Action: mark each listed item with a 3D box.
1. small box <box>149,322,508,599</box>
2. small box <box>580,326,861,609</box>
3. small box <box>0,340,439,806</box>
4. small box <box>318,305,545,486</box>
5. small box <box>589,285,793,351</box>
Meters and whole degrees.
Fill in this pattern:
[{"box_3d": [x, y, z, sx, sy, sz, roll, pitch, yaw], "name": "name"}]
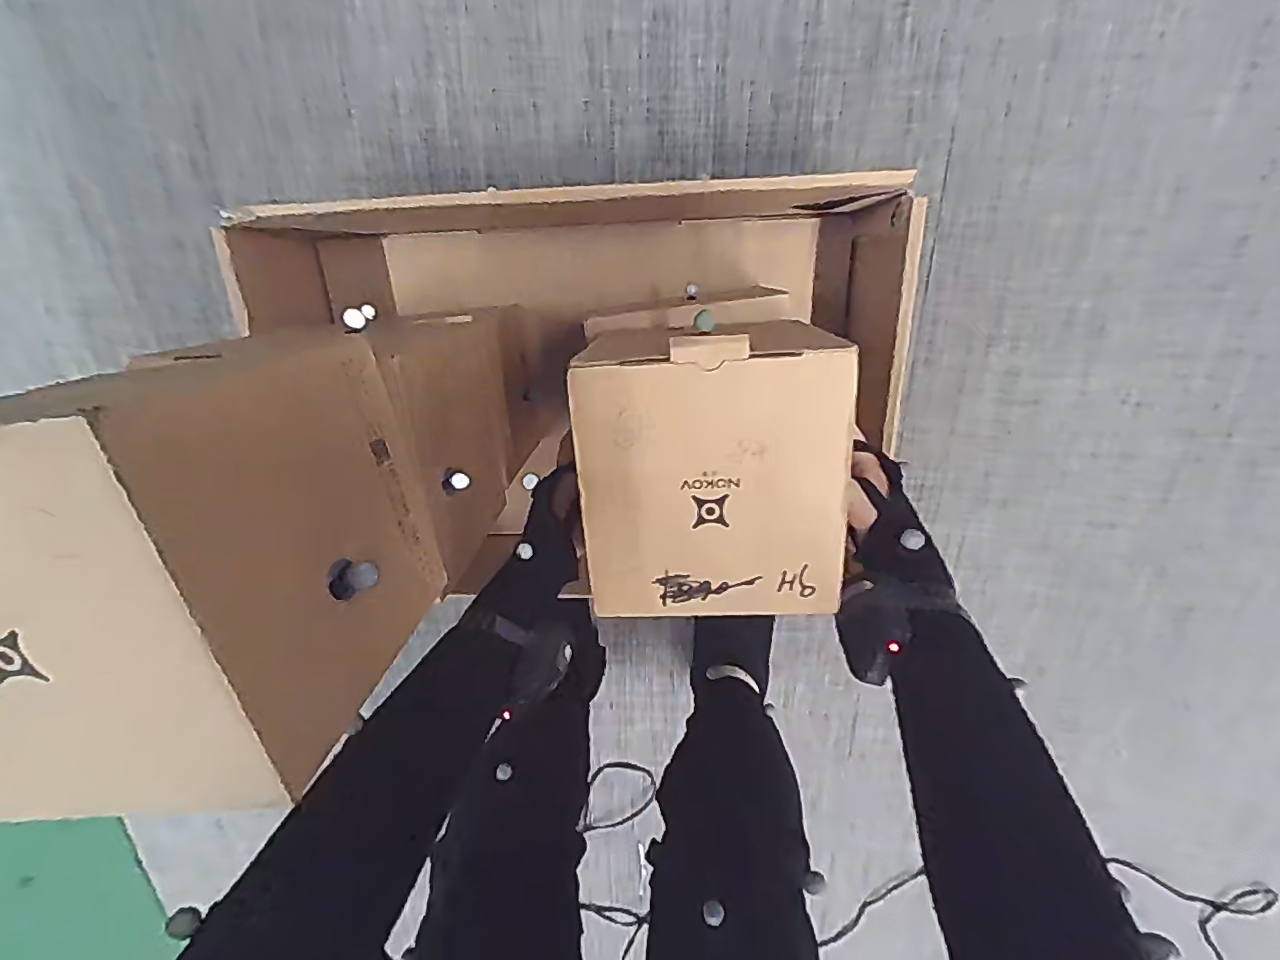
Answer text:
[{"box_3d": [-0.213, -0.025, 0.431, 0.168, 0.176, 0.179, -1, 112, 3], "name": "small box"}, {"box_3d": [0.052, -0.022, 0.413, 0.168, 0.176, 0.179, -1, 111, 5], "name": "small box"}, {"box_3d": [-0.225, 0.031, 0.279, 0.179, 0.176, 0.168, -7, 112, 7], "name": "small box"}, {"box_3d": [-0.213, -0.092, 0.581, 0.179, 0.176, 0.168, -5, 111, 3], "name": "small box"}, {"box_3d": [0.057, -0.103, 0.557, 0.179, 0.176, 0.168, -6, 111, 7], "name": "small box"}]
